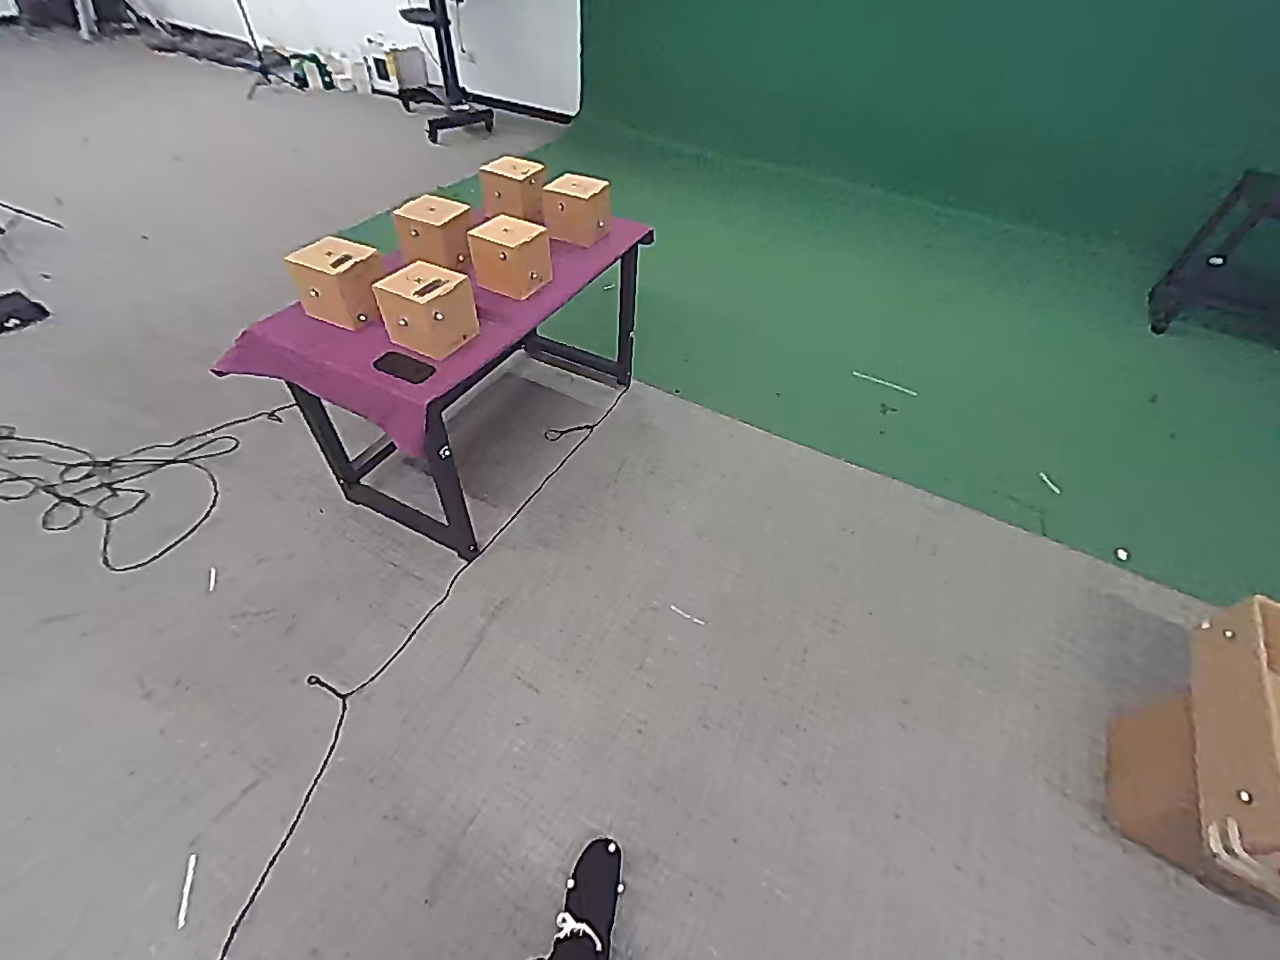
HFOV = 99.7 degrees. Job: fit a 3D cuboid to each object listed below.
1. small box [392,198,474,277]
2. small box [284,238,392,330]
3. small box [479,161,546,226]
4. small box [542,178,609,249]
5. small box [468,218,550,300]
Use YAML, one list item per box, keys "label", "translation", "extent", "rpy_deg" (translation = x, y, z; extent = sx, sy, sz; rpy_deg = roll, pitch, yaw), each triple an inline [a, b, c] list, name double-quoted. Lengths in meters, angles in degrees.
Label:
- label: "small box"
  translation: [-0.648, -0.771, 1.727]
  extent: [0.179, 0.176, 0.168]
  rpy_deg: [21, 50, 13]
- label: "small box"
  translation: [-0.824, -0.539, 1.498]
  extent: [0.179, 0.176, 0.168]
  rpy_deg: [20, 49, 14]
- label: "small box"
  translation: [-0.461, -1.051, 1.995]
  extent: [0.179, 0.176, 0.168]
  rpy_deg: [21, 50, 15]
- label: "small box"
  translation: [-0.223, -0.941, 1.912]
  extent: [0.179, 0.176, 0.168]
  rpy_deg: [22, 51, 16]
- label: "small box"
  translation: [-0.395, -0.674, 1.659]
  extent: [0.179, 0.176, 0.168]
  rpy_deg: [24, 50, 17]
